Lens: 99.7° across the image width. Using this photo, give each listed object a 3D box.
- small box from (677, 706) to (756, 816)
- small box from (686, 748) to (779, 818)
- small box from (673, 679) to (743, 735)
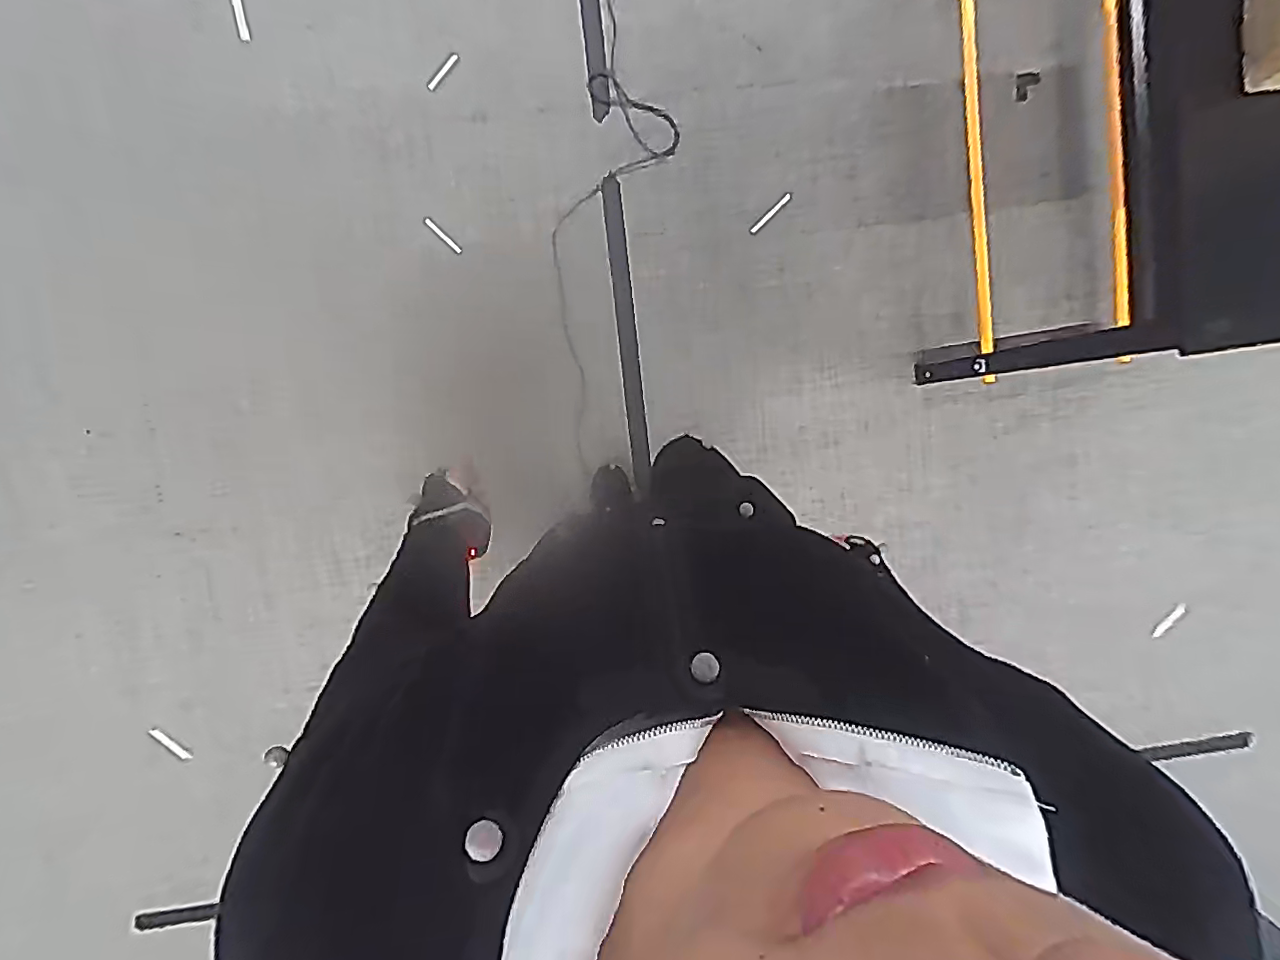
[{"bbox_3d":[0.188,0.683,1.317,0.168,0.176,0.179,-7,96,-3],"label":"small box"},{"bbox_3d":[0.196,0.697,1.154,0.168,0.176,0.179,-7,96,-2],"label":"small box"},{"bbox_3d":[0.189,0.674,1.482,0.168,0.176,0.179,-8,95,-3],"label":"small box"}]
